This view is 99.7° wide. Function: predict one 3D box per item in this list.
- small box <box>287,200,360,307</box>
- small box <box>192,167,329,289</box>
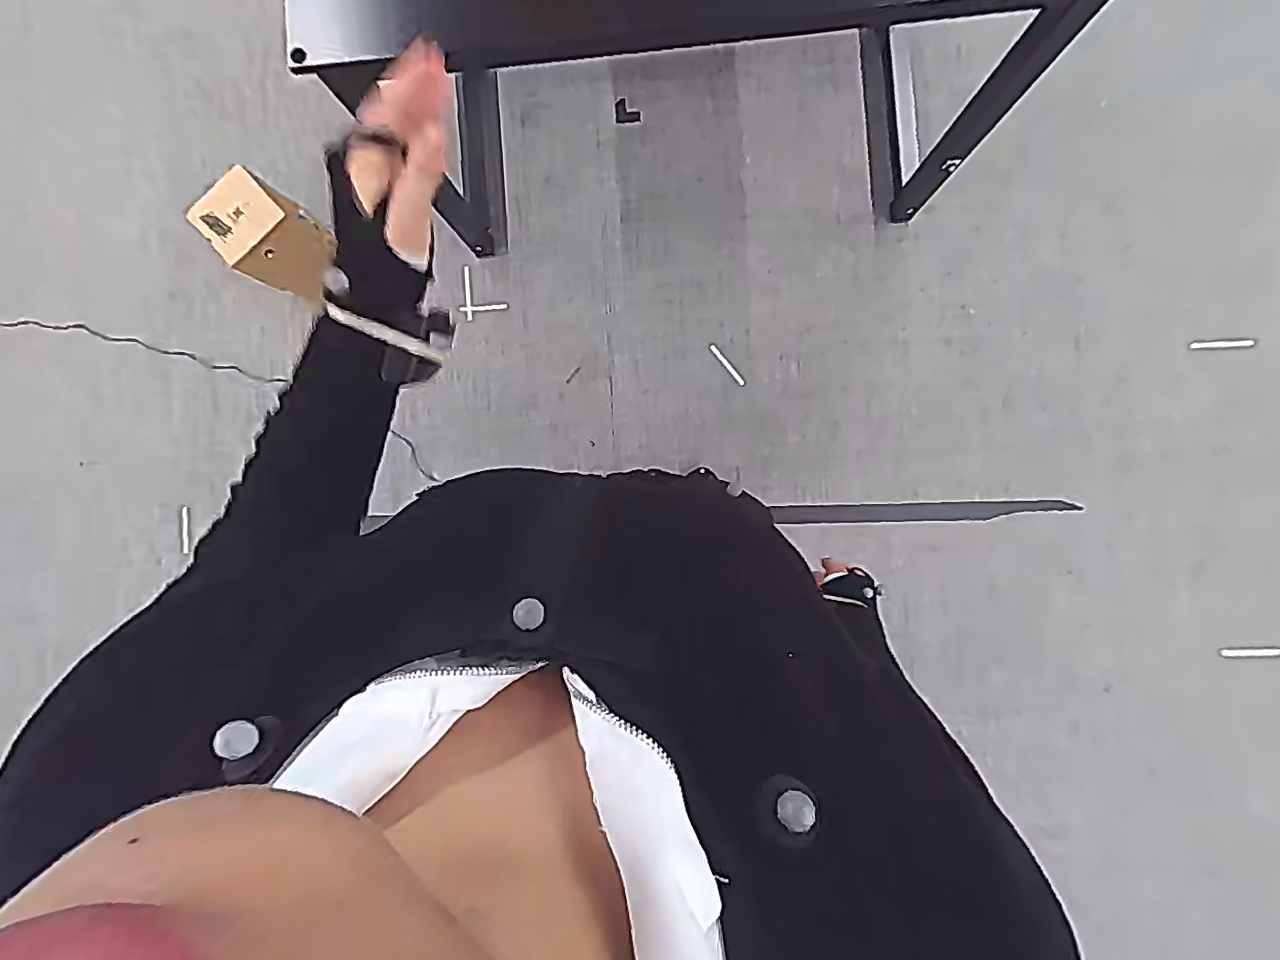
[{"bbox_3d":[-0.903,-0.609,1.474,0.179,0.176,0.168,-44,88,1],"label":"small box"},{"bbox_3d":[-0.906,-0.596,1.308,0.179,0.176,0.168,-43,88,2],"label":"small box"}]
